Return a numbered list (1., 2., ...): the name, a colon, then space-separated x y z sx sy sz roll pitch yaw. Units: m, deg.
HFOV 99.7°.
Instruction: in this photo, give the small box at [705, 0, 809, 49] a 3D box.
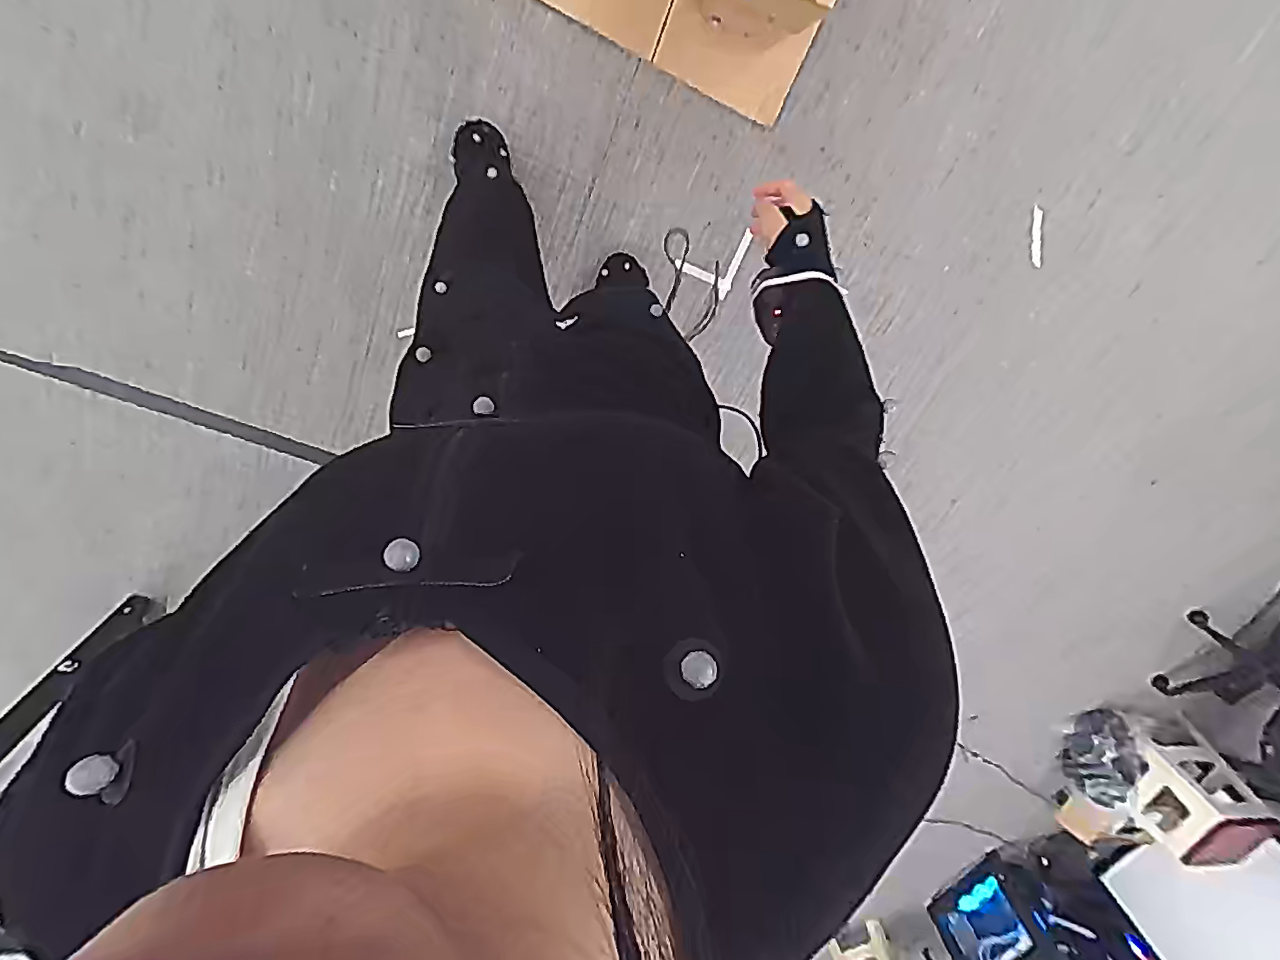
1. small box: 0.233 -0.950 1.010 0.168 0.176 0.179 15 115 -14
